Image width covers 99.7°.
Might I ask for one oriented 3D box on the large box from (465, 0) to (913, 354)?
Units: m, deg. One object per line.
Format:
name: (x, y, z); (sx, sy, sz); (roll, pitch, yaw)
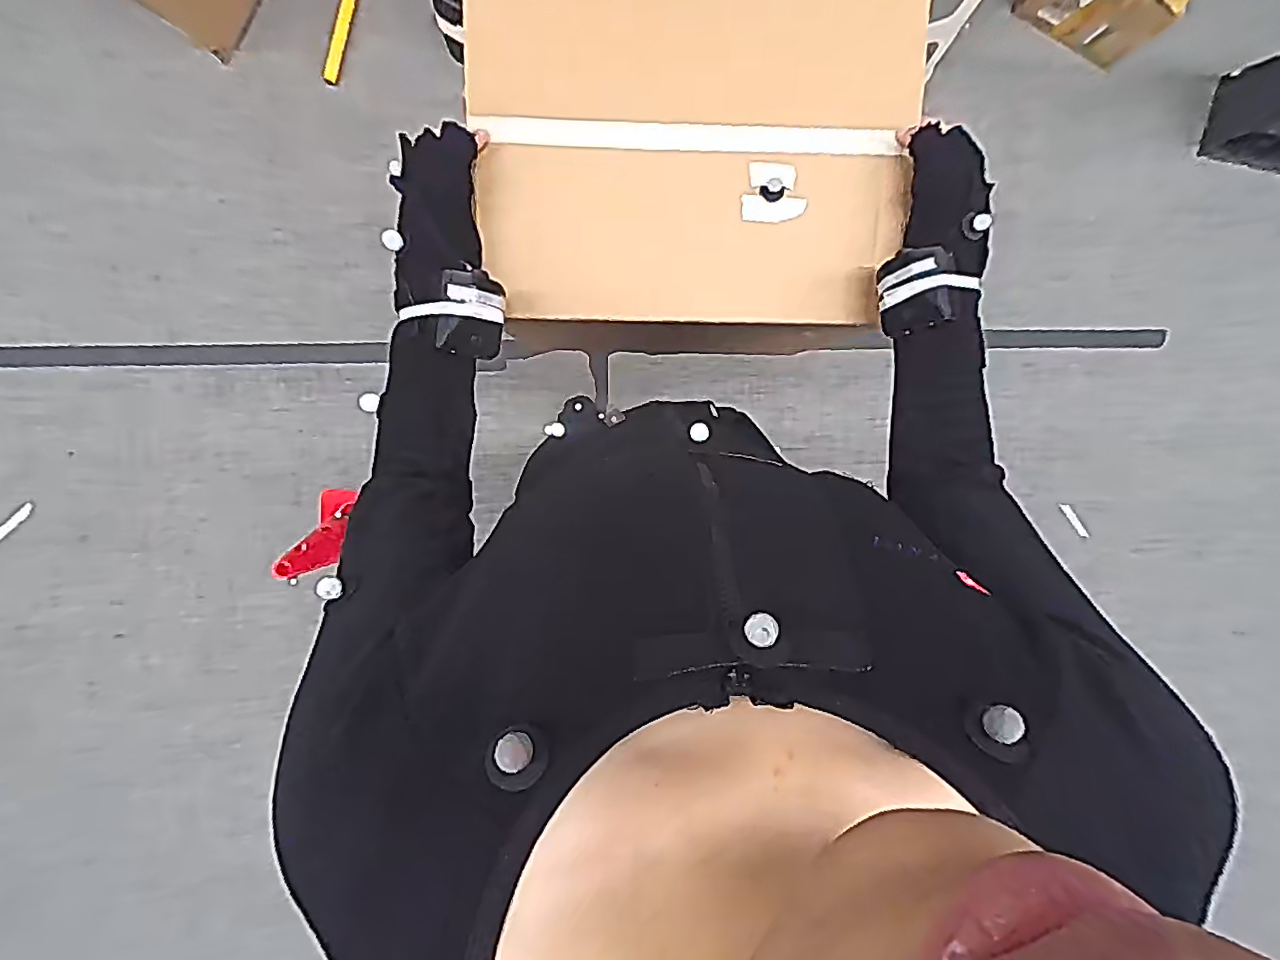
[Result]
large box: (0.037, -0.323, 0.634); (0.408, 0.320, 0.320); (0, 98, -4)

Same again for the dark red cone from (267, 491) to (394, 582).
dark red cone: (-0.731, 0.157, 1.249); (0.201, 0.394, 0.202); (5, 98, -6)
